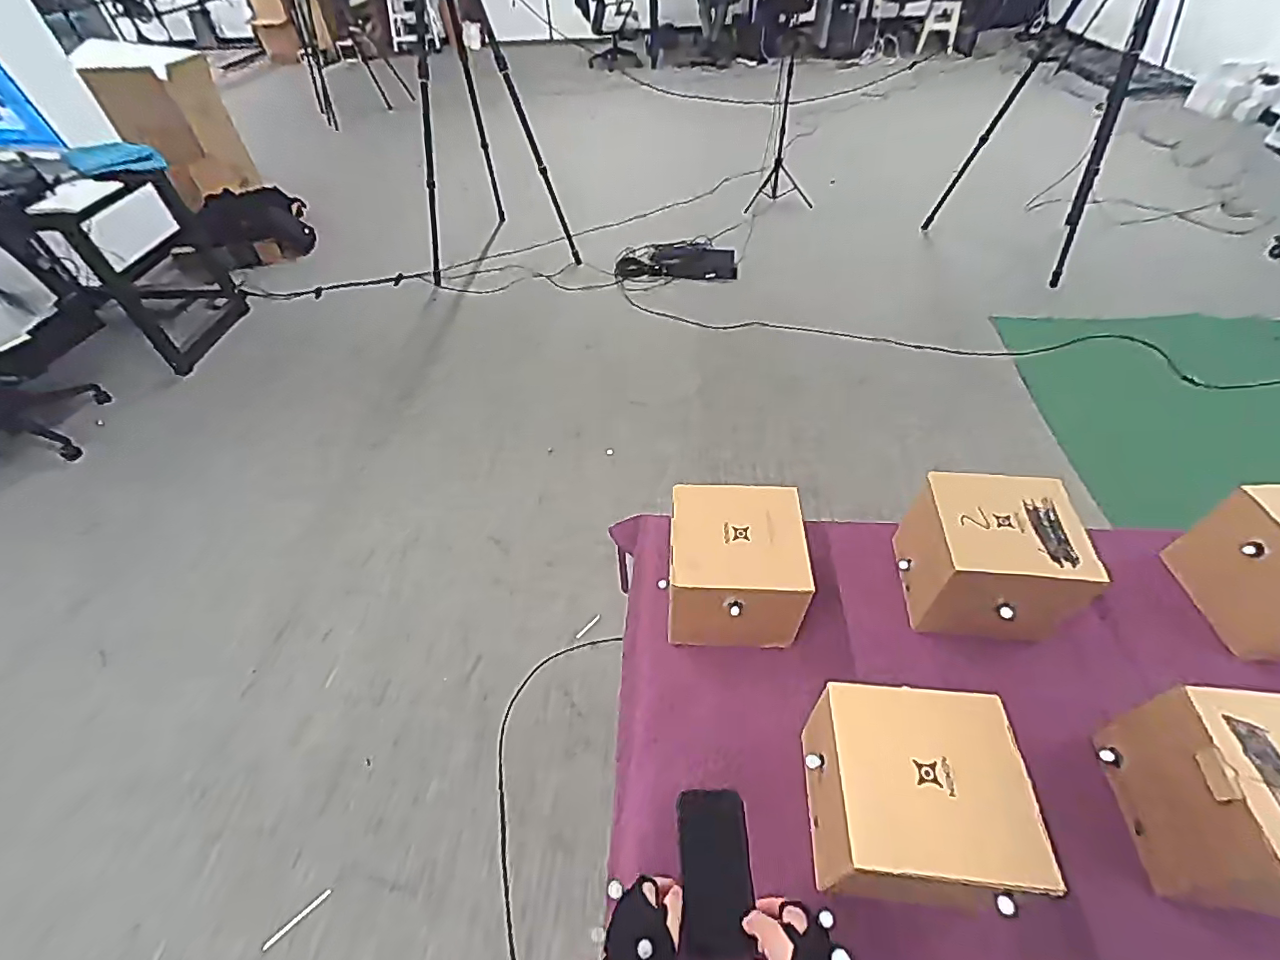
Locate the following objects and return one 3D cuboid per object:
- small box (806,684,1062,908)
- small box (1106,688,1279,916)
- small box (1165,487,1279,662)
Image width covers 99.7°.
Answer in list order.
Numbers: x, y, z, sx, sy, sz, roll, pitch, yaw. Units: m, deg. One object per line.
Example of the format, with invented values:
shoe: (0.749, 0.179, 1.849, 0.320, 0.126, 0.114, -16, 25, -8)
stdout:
small box: (0.280, 0.335, 0.572, 0.179, 0.176, 0.168, 4, 48, 4)
small box: (0.633, 0.333, 0.553, 0.179, 0.176, 0.168, 4, 48, 6)
small box: (0.882, 0.127, 0.723, 0.168, 0.176, 0.179, -1, 48, 3)
